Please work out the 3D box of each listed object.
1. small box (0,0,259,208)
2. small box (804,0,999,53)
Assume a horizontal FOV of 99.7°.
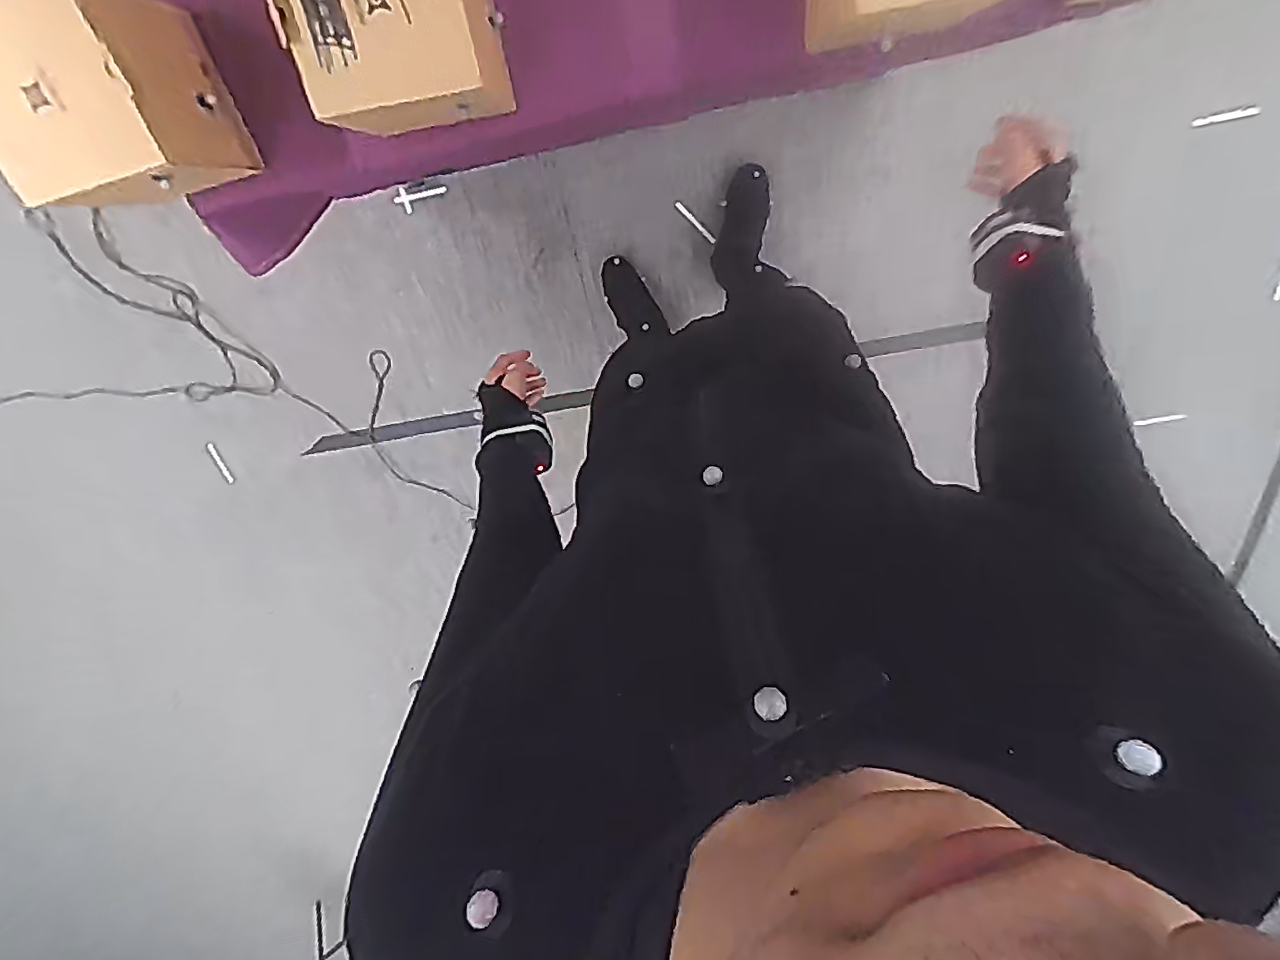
[{"bbox_3d":[-0.587,-0.413,0.603,0.179,0.176,0.168,-14,117,6],"label":"small box"},{"bbox_3d":[0.263,-0.553,0.525,0.168,0.176,0.179,-7,119,4],"label":"small box"}]
